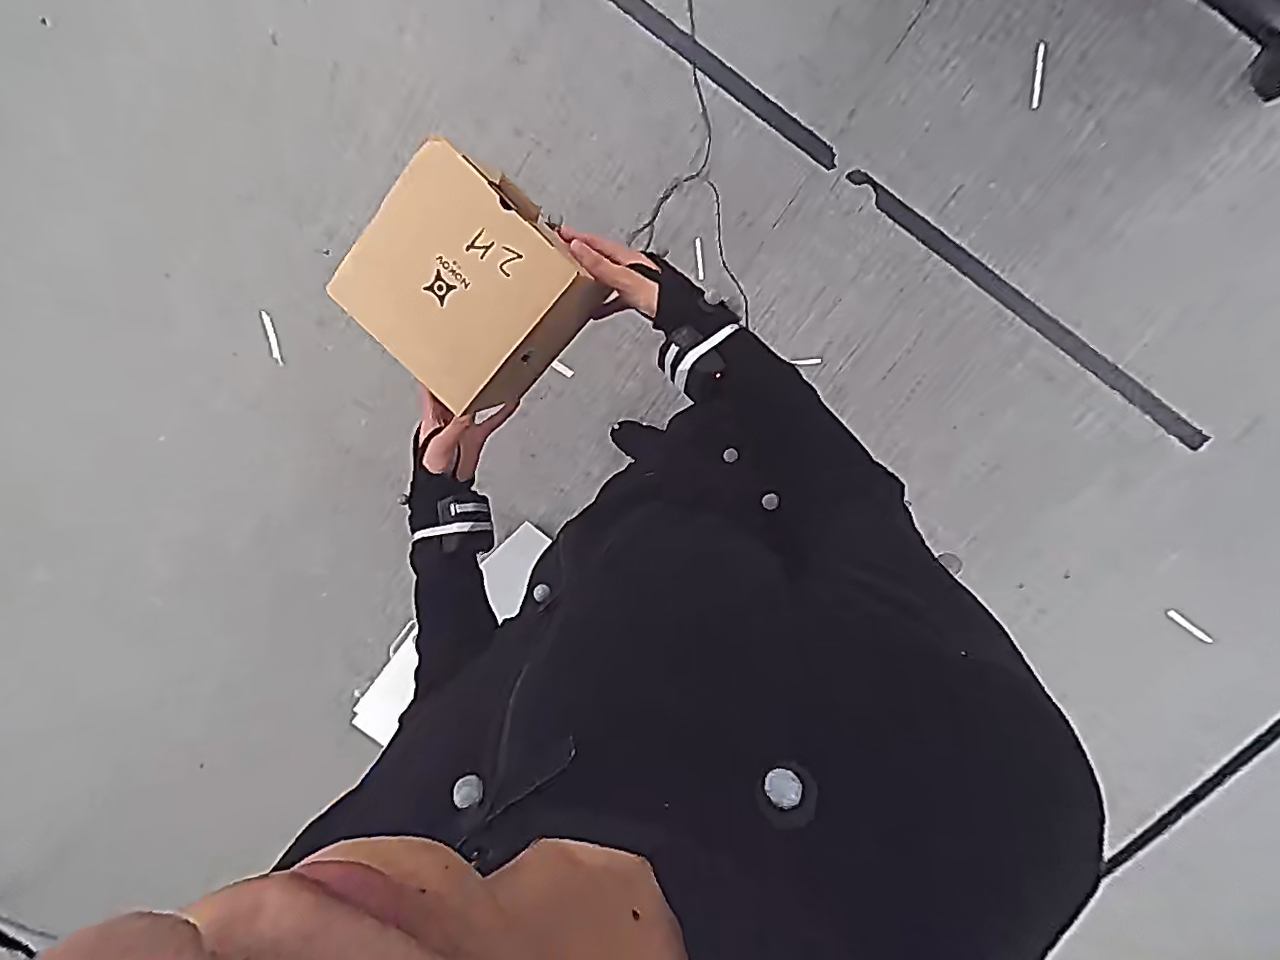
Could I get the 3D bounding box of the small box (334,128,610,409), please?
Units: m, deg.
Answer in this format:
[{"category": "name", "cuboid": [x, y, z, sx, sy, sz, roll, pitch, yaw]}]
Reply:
[{"category": "small box", "cuboid": [-0.152, -0.196, 0.549, 0.168, 0.176, 0.179, 44, 105, -5]}]
